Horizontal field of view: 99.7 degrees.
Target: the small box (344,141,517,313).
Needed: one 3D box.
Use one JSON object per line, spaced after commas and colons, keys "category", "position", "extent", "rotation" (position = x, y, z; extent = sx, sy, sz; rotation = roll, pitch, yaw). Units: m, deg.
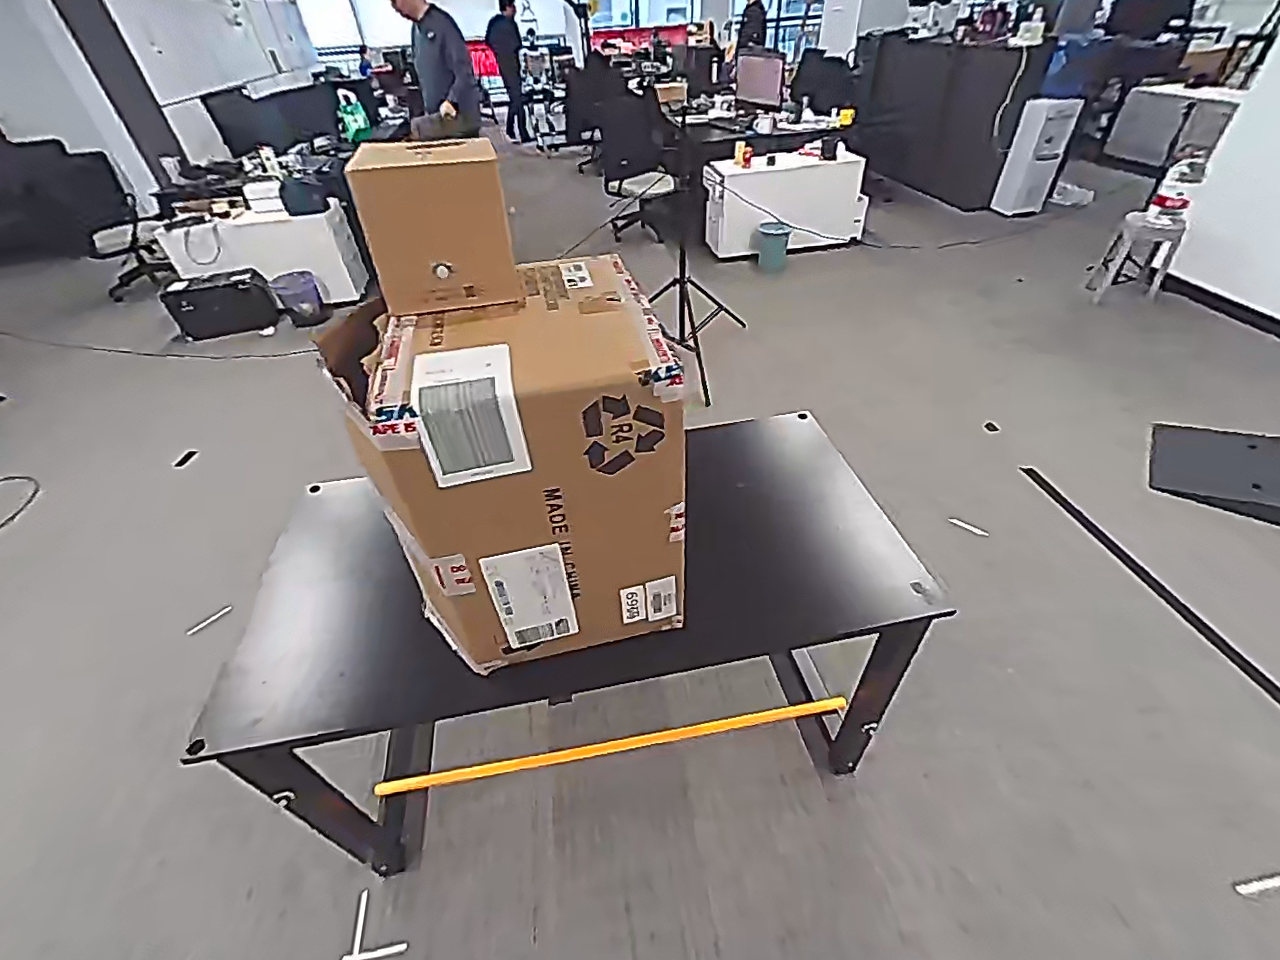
{"category": "small box", "position": [-0.263, -0.337, 0.714], "extent": [0.168, 0.176, 0.179], "rotation": [-11, 40, -11]}
